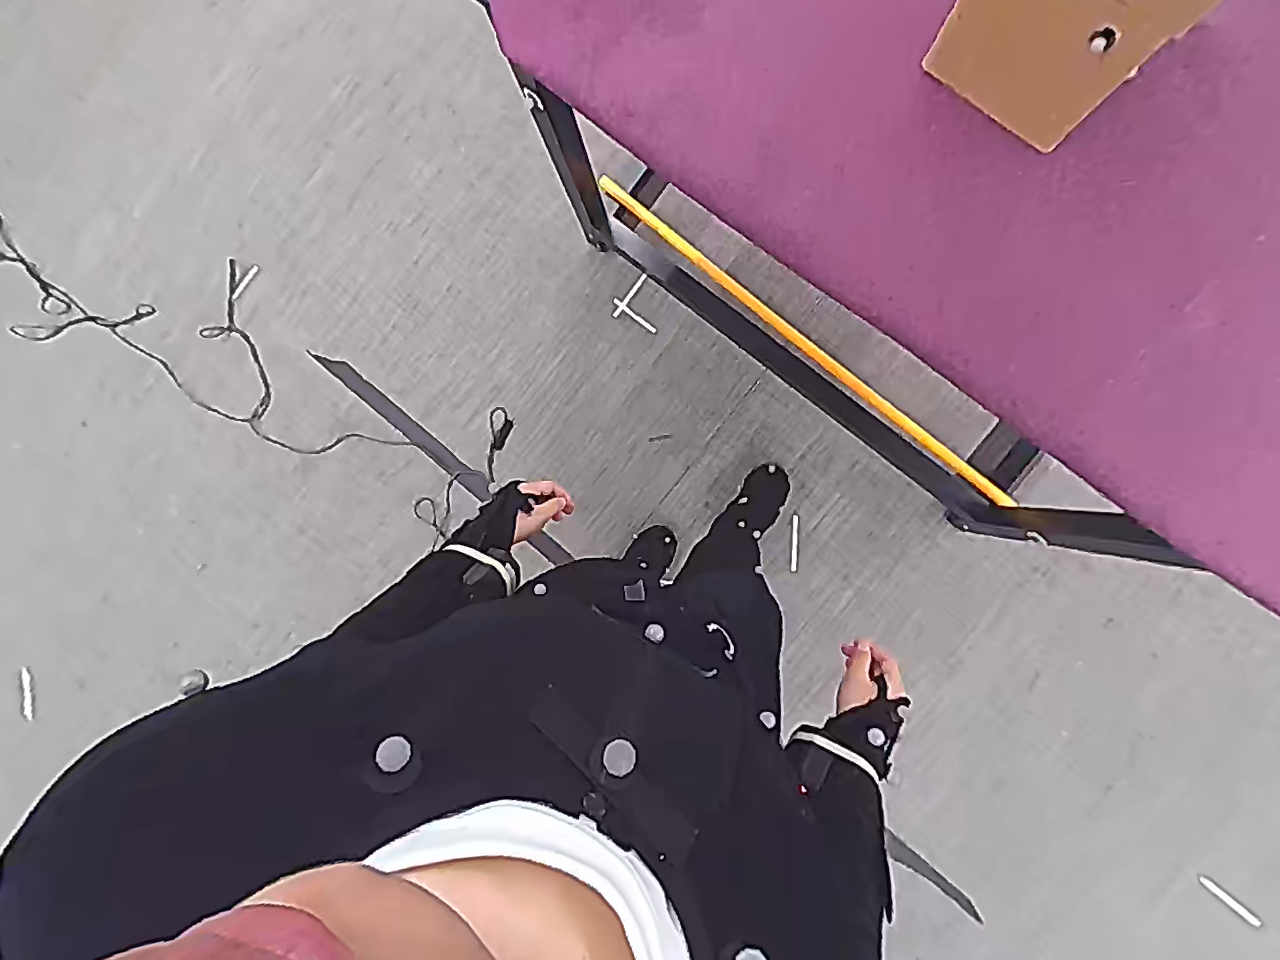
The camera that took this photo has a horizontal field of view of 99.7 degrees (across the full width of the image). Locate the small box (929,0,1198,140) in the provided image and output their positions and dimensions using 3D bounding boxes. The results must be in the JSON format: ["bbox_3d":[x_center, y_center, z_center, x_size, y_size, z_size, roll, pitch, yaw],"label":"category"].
[{"bbox_3d":[0.428,-0.484,0.525,0.179,0.176,0.168,39,93,4],"label":"small box"}]

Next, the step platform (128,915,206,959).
[{"bbox_3d":[-1.089,1.489,1.371,0.684,0.204,0.286,39,93,3],"label":"step platform"}]
